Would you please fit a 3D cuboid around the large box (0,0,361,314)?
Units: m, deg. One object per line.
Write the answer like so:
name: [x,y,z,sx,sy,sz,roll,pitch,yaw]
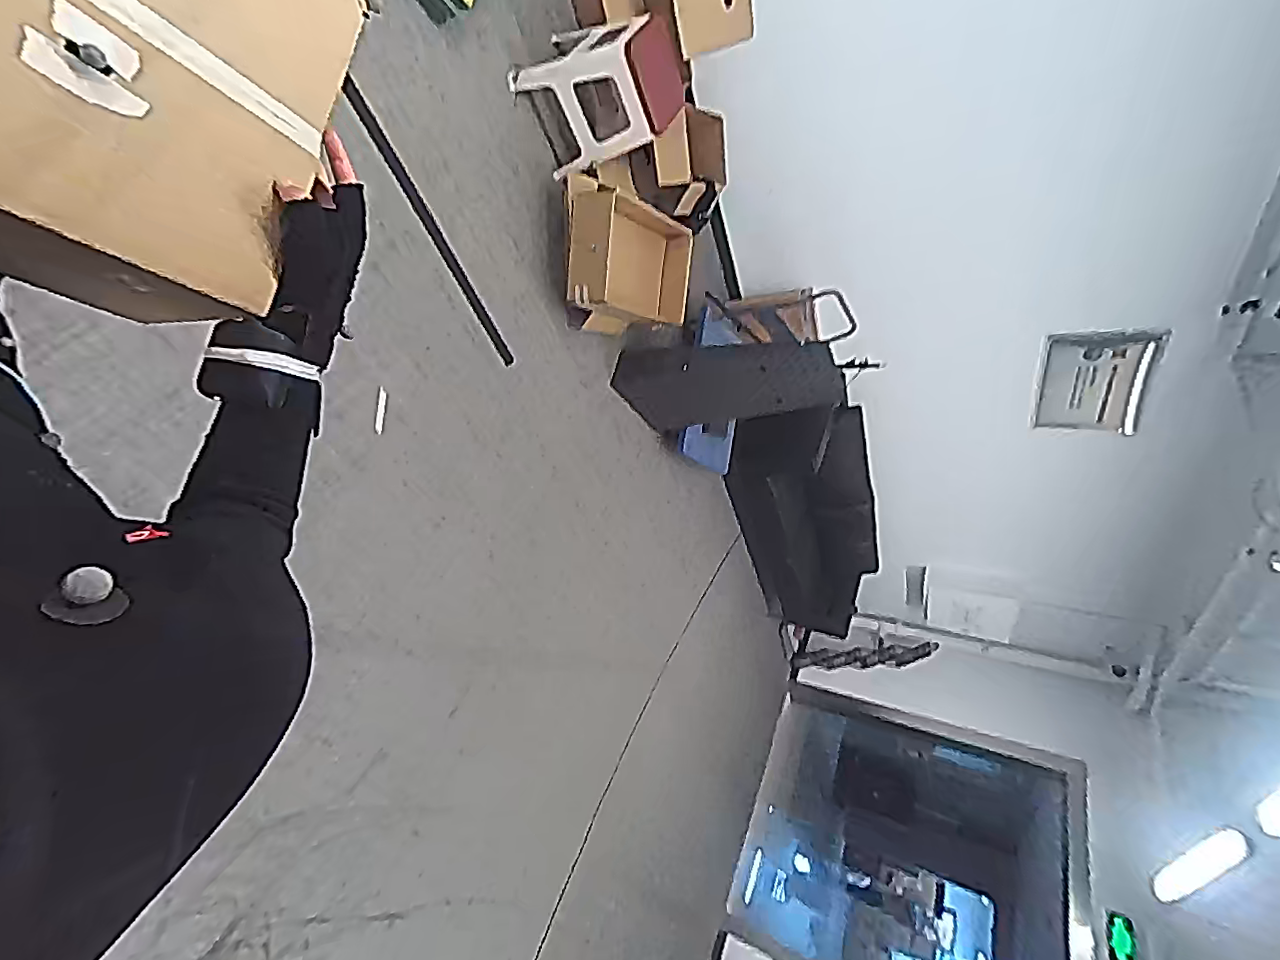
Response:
large box: [-0.512,-0.354,0.393,0.408,0.320,0.320,23,80,-57]
